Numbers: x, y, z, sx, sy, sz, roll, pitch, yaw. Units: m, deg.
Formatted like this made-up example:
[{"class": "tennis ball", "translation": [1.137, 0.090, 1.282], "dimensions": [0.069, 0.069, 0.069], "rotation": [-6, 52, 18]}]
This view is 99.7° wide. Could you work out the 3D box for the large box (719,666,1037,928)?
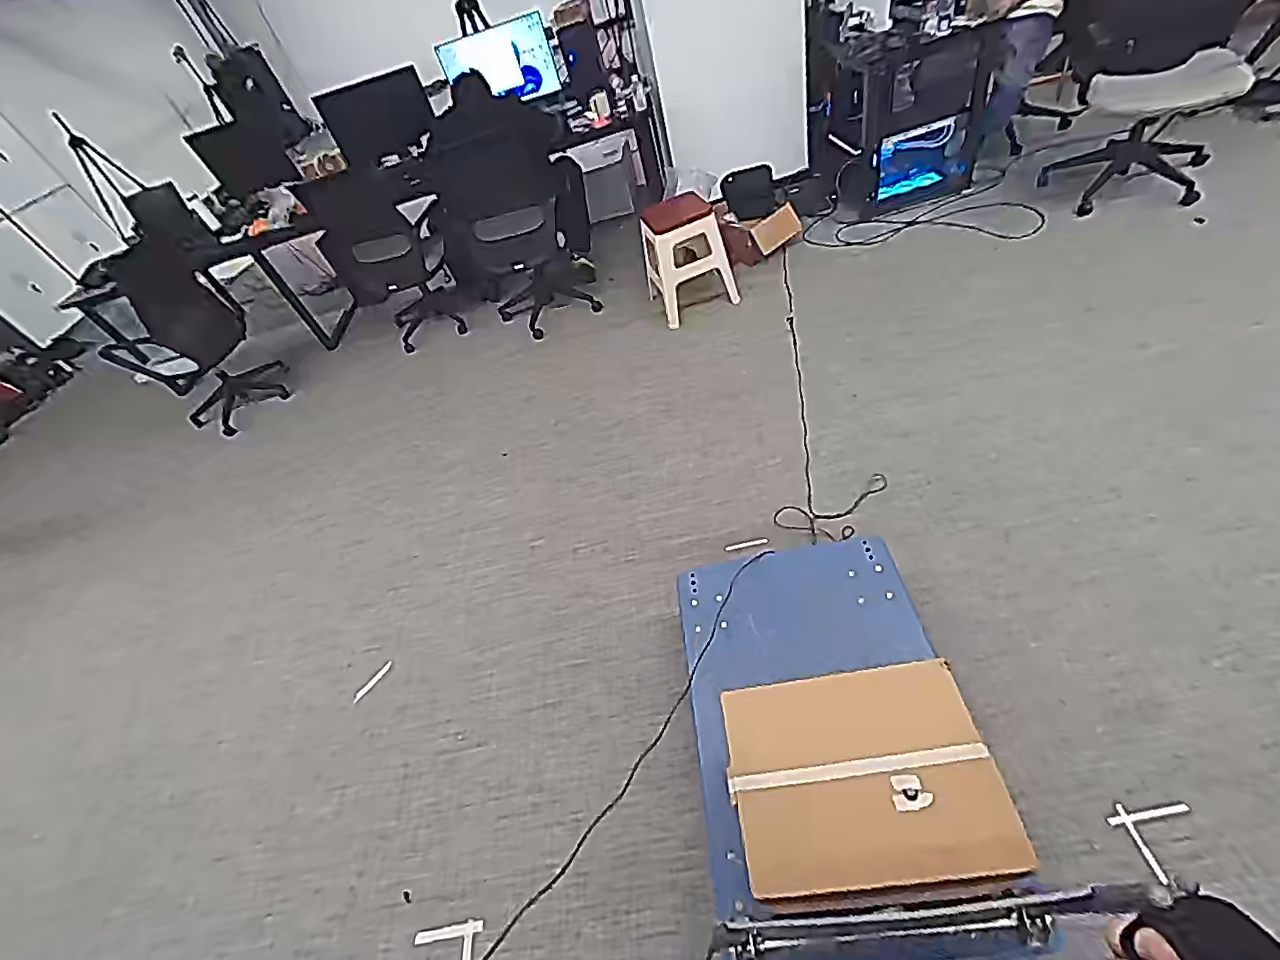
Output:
[{"class": "large box", "translation": [0.380, 0.577, 0.973], "dimensions": [0.408, 0.320, 0.320], "rotation": [-12, 47, 7]}]
